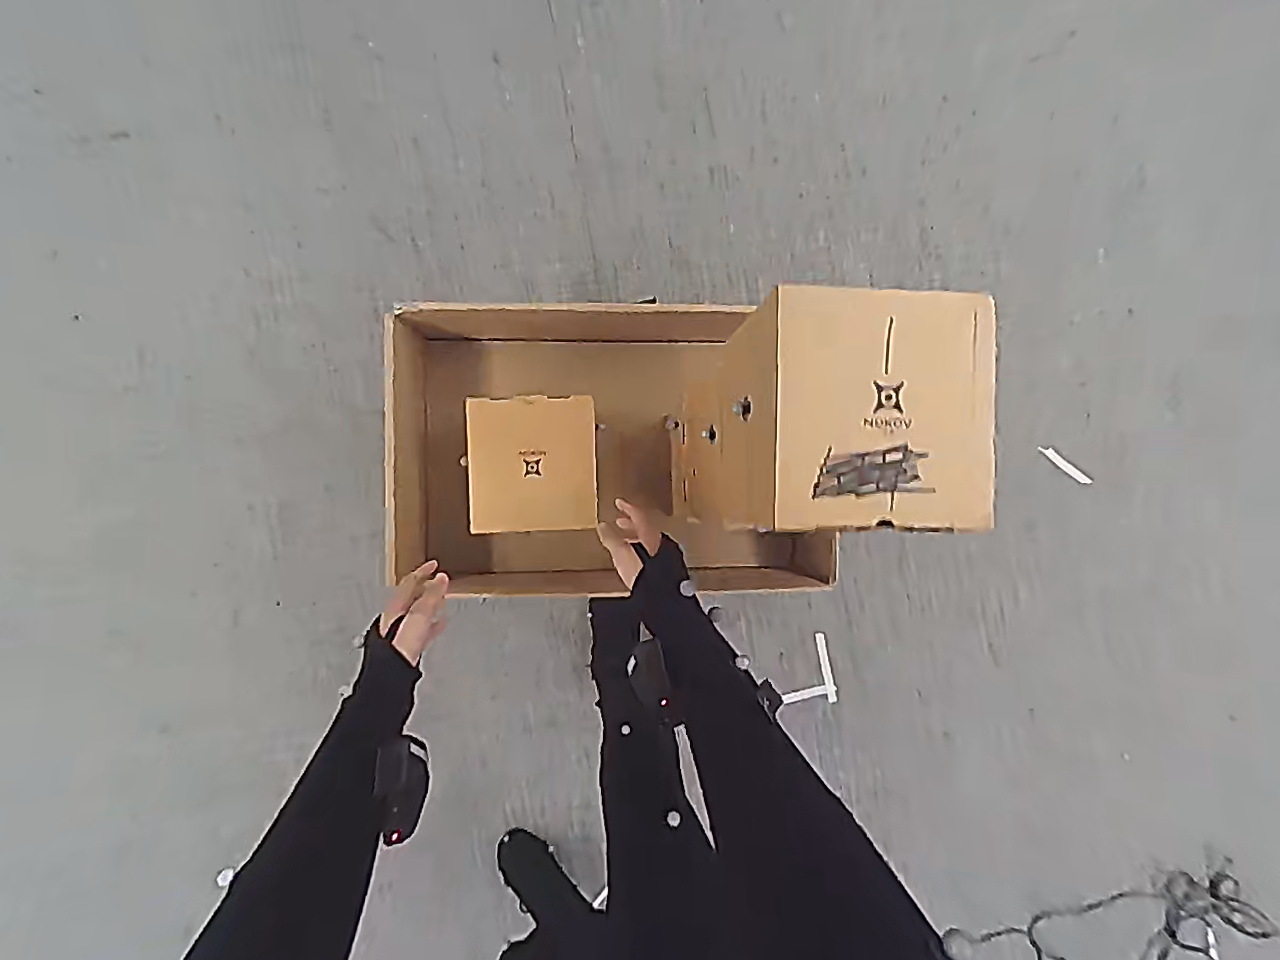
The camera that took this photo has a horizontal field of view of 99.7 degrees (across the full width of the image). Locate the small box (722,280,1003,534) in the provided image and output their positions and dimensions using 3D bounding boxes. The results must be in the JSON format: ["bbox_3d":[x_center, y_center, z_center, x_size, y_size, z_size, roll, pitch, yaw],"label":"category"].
[{"bbox_3d":[0.169,-0.051,0.460,0.168,0.176,0.179,1,89,-4],"label":"small box"}]

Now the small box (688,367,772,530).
[{"bbox_3d":[0.158,-0.036,0.624,0.179,0.176,0.168,-3,90,-5],"label":"small box"}]

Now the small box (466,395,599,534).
[{"bbox_3d":[-0.143,-0.022,0.771,0.168,0.176,0.179,-2,90,-4],"label":"small box"}]
